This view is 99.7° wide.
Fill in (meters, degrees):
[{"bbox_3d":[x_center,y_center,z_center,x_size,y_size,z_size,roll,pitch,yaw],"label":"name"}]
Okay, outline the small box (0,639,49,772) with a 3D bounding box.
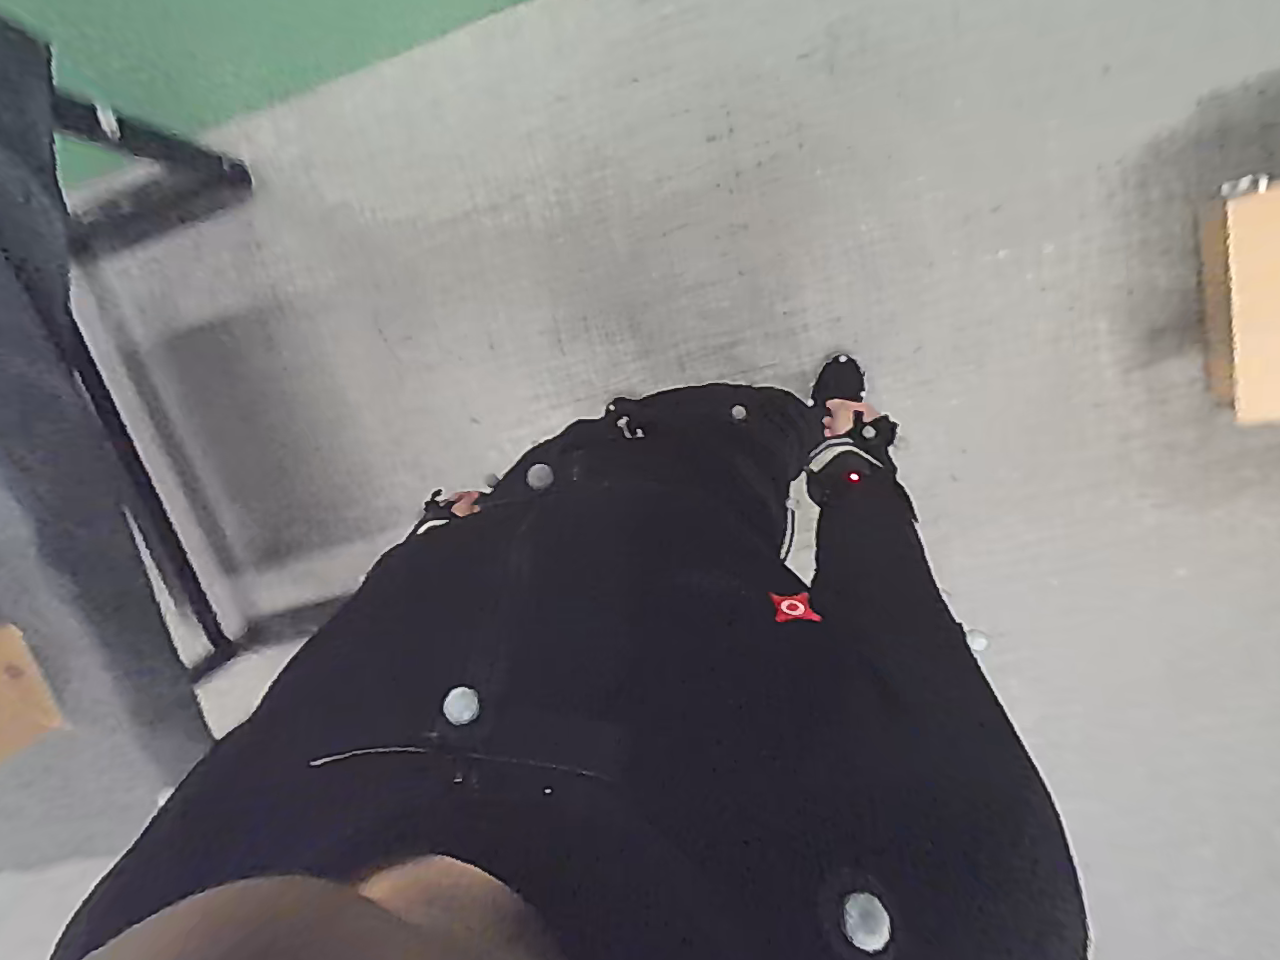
[{"bbox_3d":[-0.923,0.320,0.684,0.179,0.176,0.168,-12,102,10],"label":"small box"}]
